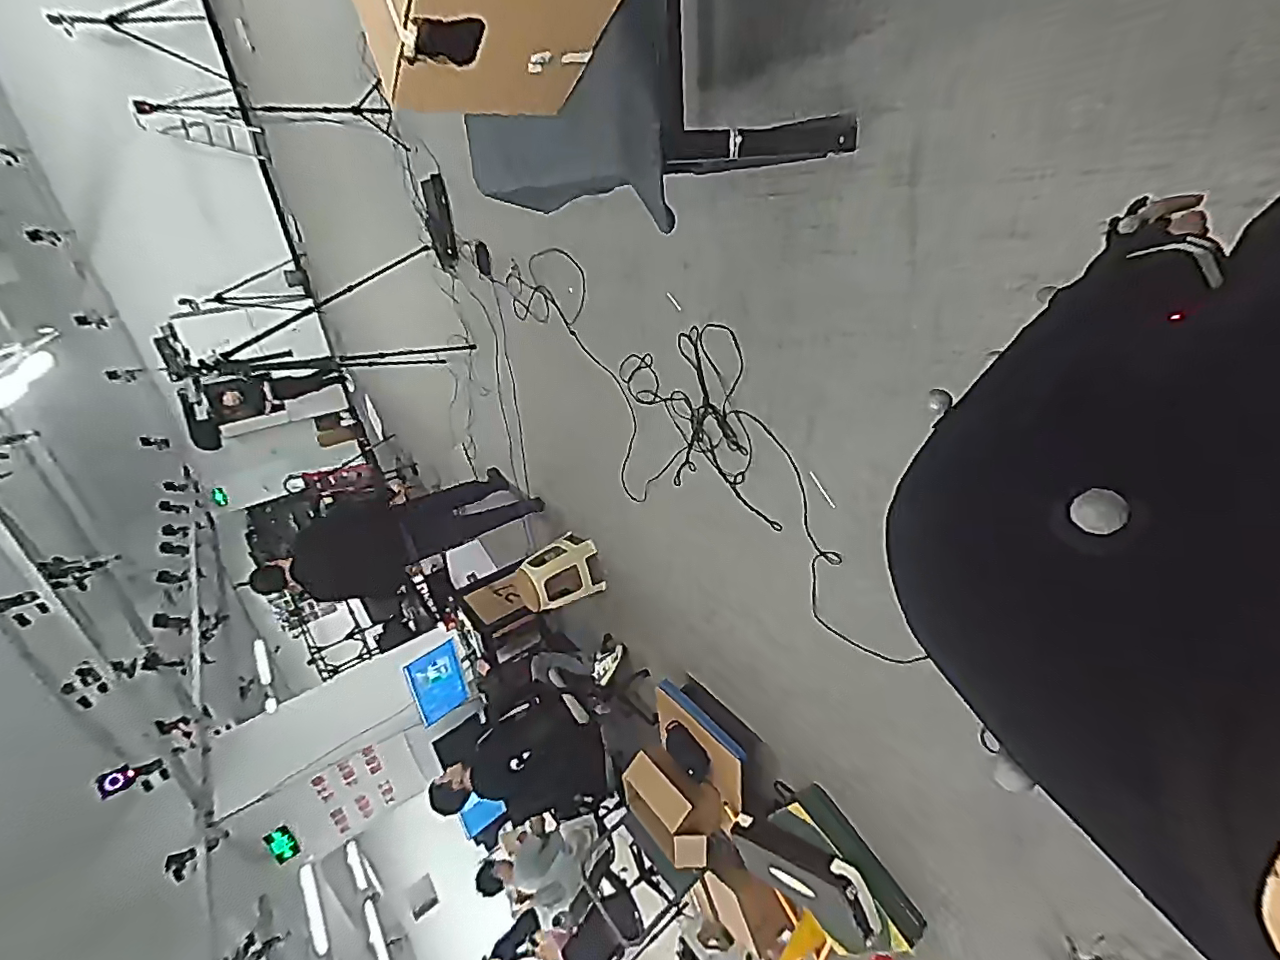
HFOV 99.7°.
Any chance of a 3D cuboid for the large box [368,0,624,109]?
[{"bbox_3d":[-0.250,-0.858,0.812,0.320,0.320,0.408,-10,99,58],"label":"large box"}]
